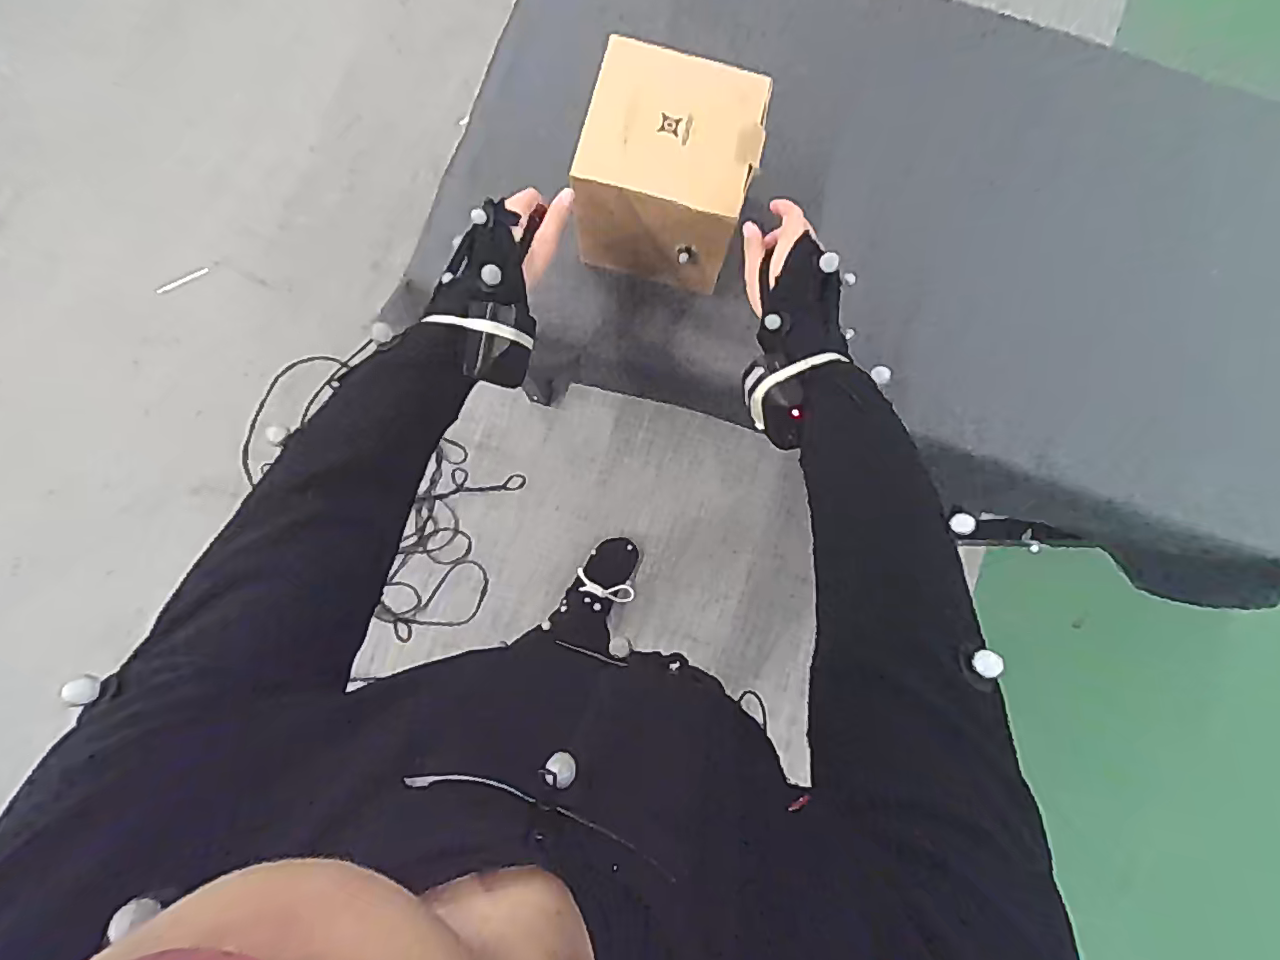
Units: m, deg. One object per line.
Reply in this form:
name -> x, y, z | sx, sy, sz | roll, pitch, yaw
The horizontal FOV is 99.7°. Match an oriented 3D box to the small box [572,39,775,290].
small box -> 0.033, -0.342, 0.622 | 0.179, 0.176, 0.168 | 14, 82, 0
